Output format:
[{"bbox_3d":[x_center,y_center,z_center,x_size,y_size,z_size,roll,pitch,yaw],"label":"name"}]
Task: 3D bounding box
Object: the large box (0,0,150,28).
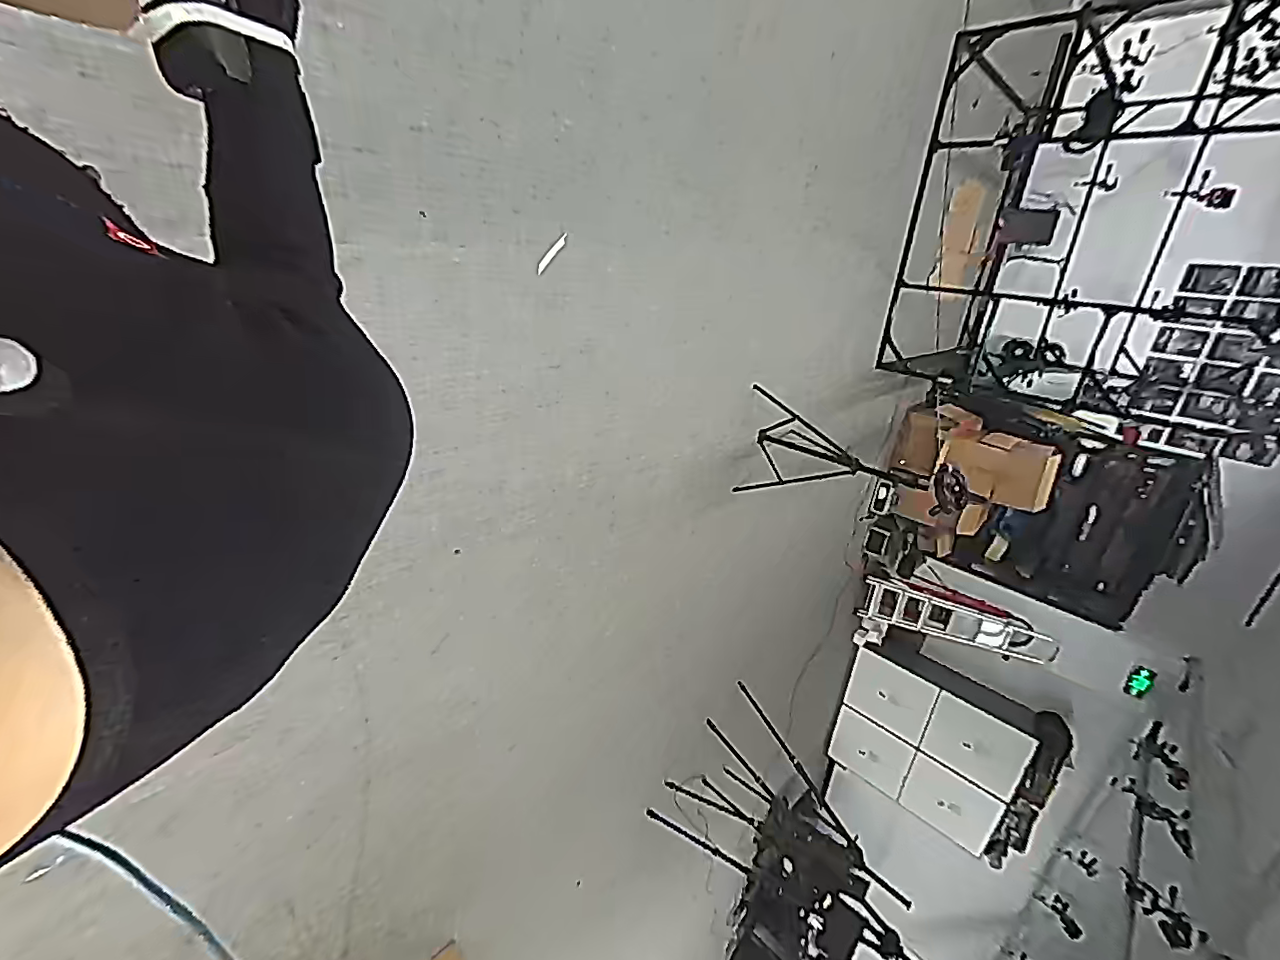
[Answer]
[{"bbox_3d":[-0.532,-0.485,0.256,0.408,0.320,0.320,-20,126,-44],"label":"large box"}]
